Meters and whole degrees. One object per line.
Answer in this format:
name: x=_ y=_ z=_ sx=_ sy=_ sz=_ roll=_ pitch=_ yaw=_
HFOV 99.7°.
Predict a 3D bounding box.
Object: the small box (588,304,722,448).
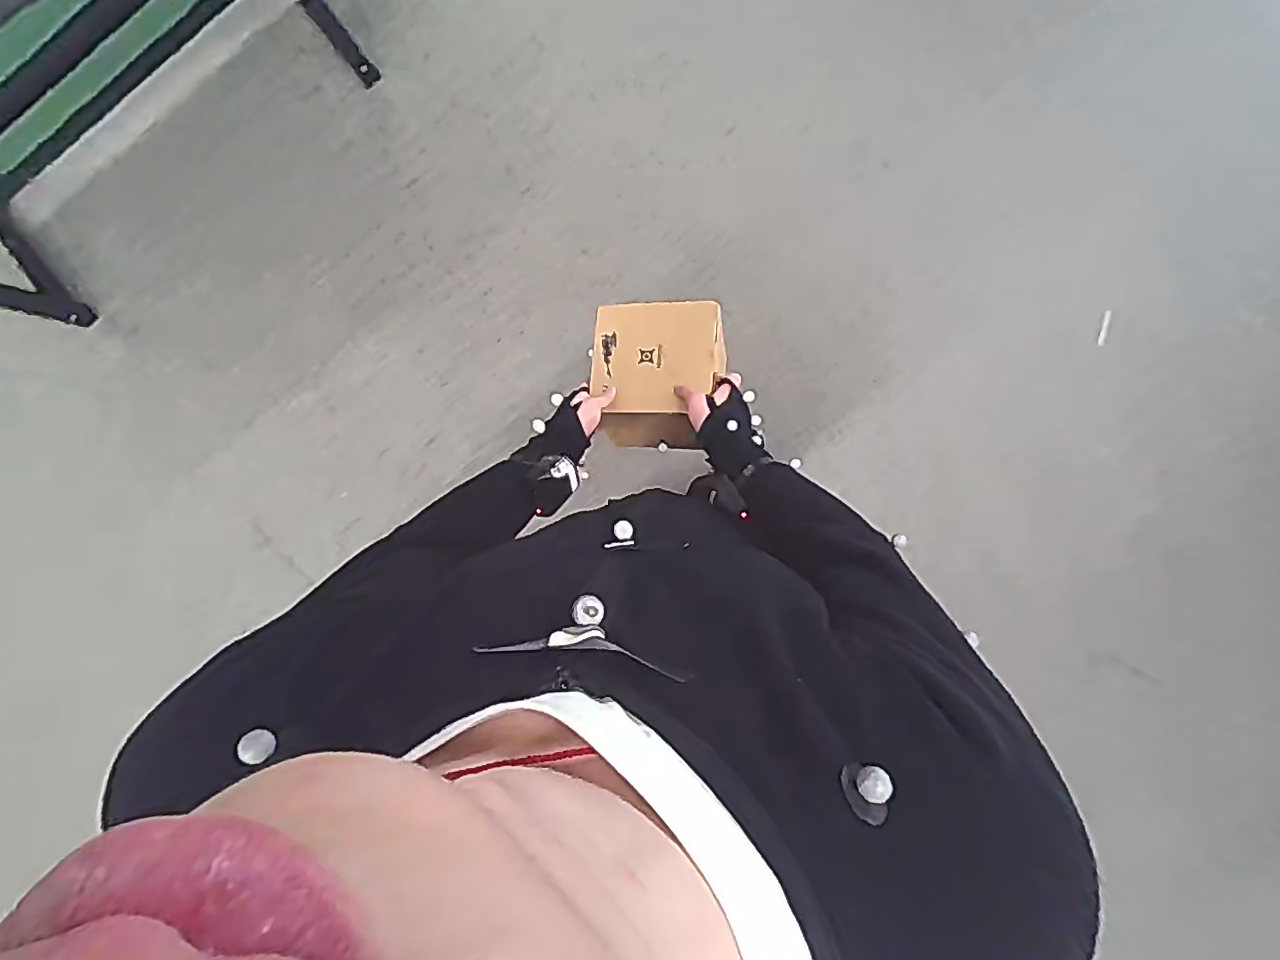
small box: x=0.032 y=-0.150 z=0.825 sx=0.179 sy=0.176 sz=0.168 roll=2 pitch=77 yaw=12
